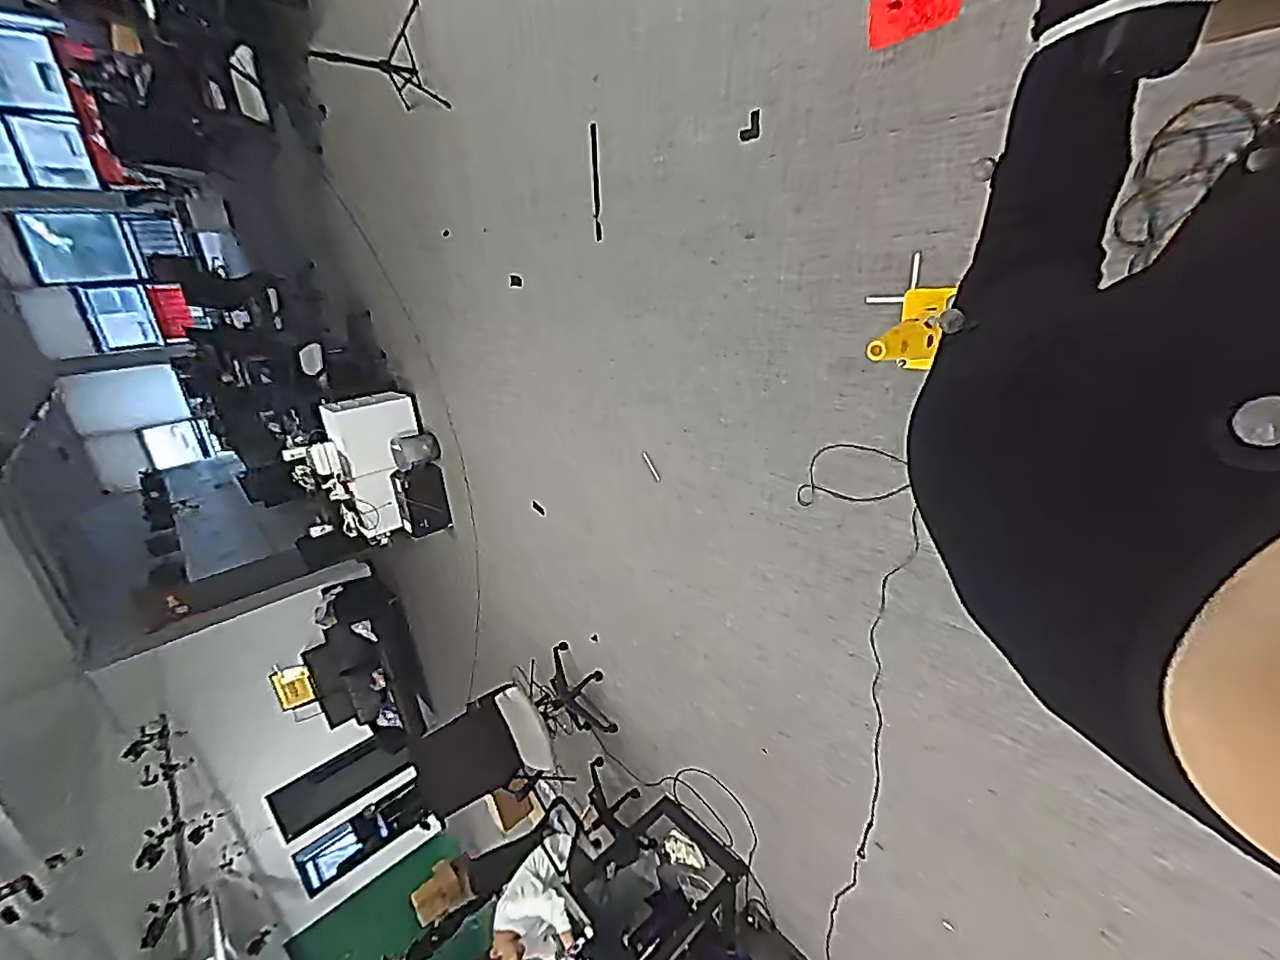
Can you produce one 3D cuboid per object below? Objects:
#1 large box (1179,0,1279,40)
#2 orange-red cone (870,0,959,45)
[{"bbox_3d":[0.546,-0.468,0.235,0.408,0.320,0.320,16,124,44],"label":"large box"},{"bbox_3d":[0.473,-1.039,1.075,0.198,0.360,0.199,18,122,46],"label":"orange-red cone"}]
